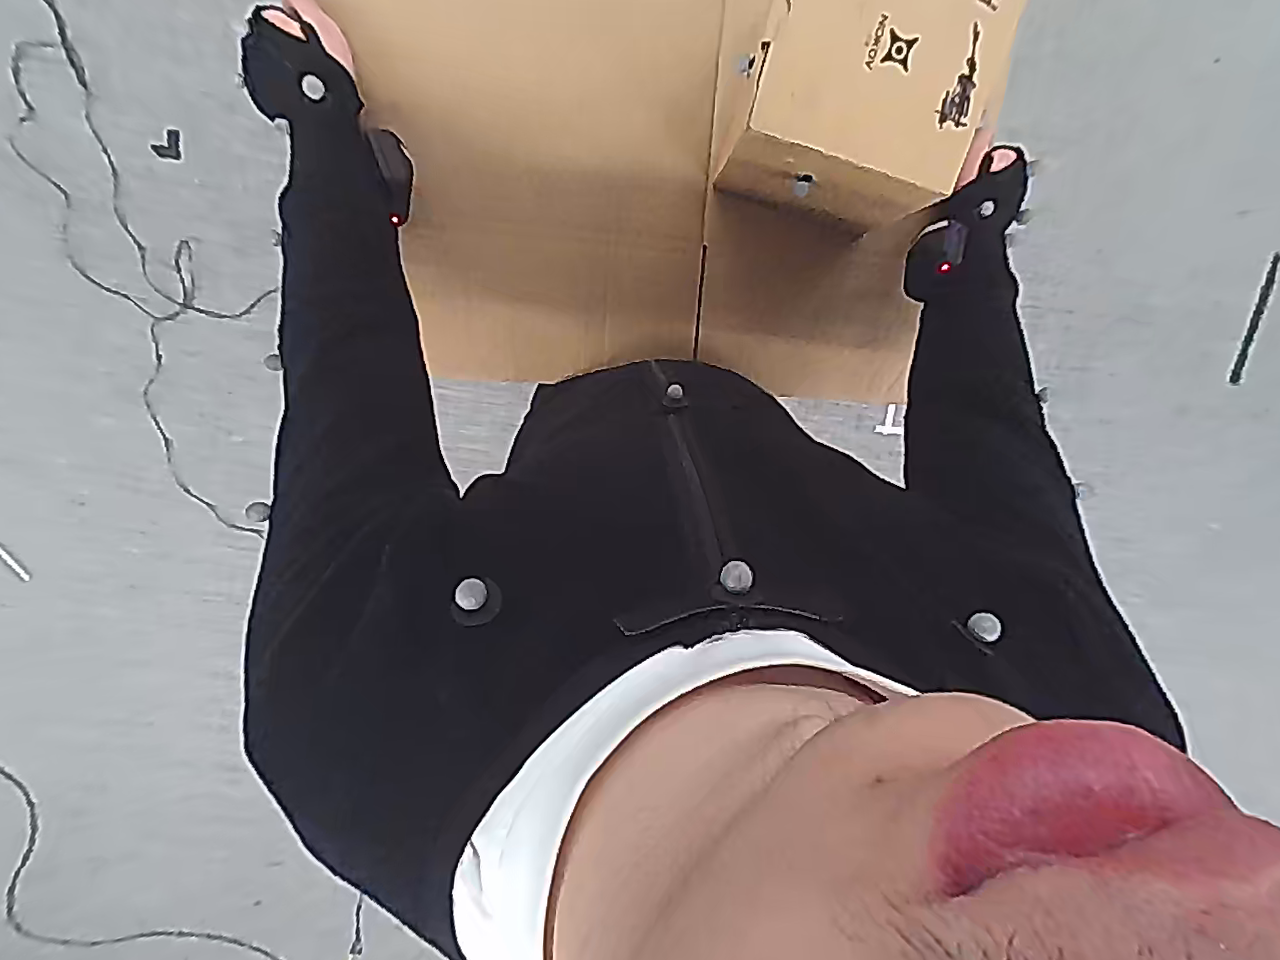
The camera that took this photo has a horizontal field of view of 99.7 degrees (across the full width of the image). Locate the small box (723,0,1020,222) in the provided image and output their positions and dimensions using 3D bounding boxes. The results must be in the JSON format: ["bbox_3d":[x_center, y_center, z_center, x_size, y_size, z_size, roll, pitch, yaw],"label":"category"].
[{"bbox_3d":[0.186,-0.352,0.487,0.179,0.176,0.168,15,104,-4],"label":"small box"}]
